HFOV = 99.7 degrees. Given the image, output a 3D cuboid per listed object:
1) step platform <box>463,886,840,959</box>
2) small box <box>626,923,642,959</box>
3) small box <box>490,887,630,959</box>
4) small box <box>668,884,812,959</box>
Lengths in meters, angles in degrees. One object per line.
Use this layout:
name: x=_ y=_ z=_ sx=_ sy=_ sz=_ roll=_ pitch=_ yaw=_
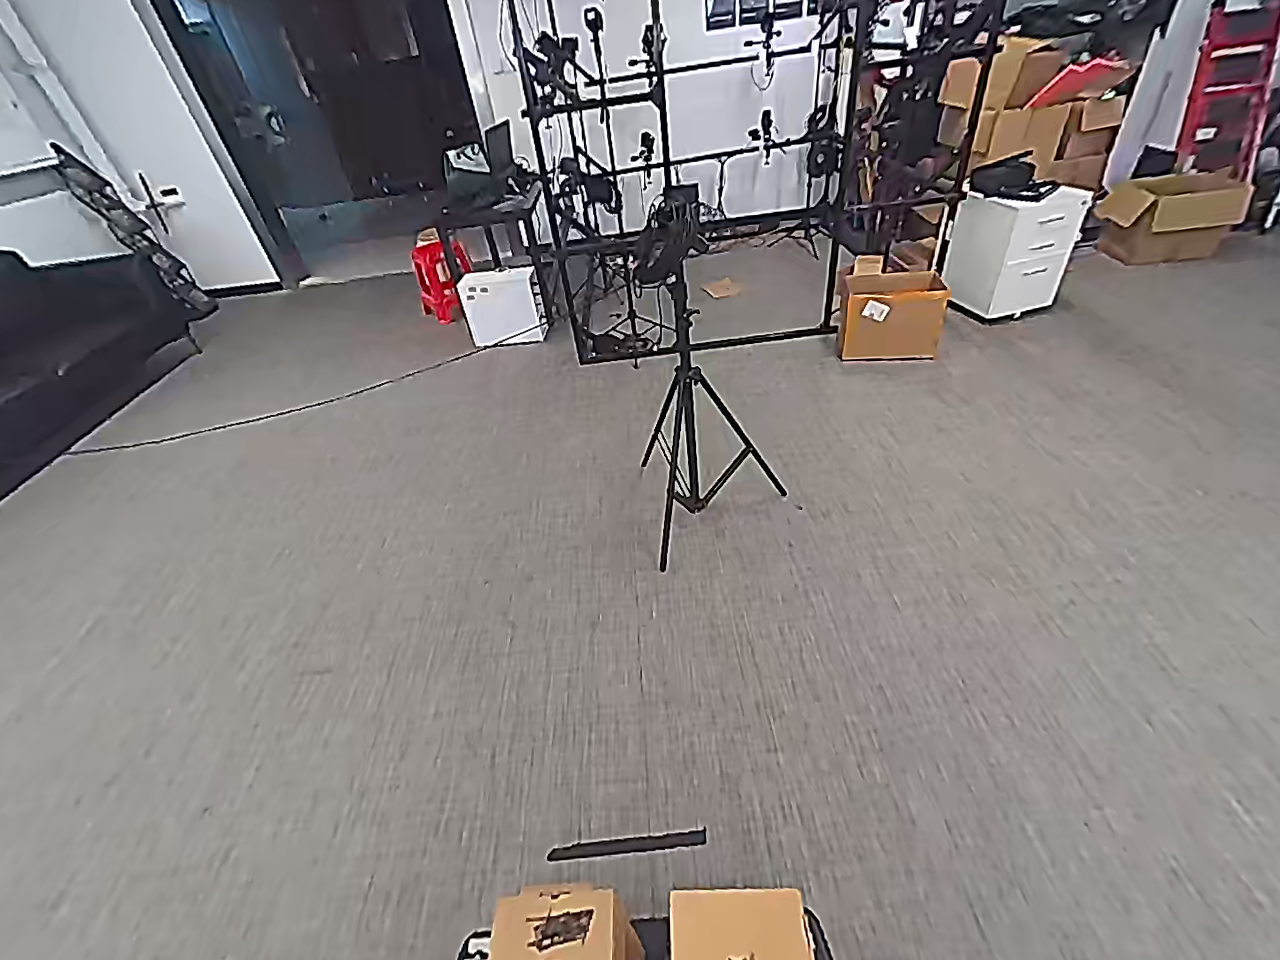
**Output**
step platform: x=0.020 y=0.925 z=0.943 sx=0.684 sy=0.204 sz=0.286 roll=-8 pitch=38 yaw=2
small box: x=-0.082 y=0.811 z=0.824 sx=0.168 sy=0.176 sz=0.179 roll=-6 pitch=38 yaw=4
small box: x=-0.104 y=0.681 z=0.725 sx=0.168 sy=0.176 sz=0.179 roll=-6 pitch=39 yaw=3
small box: x=0.133 y=0.659 z=0.712 sx=0.179 sy=0.176 sz=0.168 roll=-5 pitch=39 yaw=4
